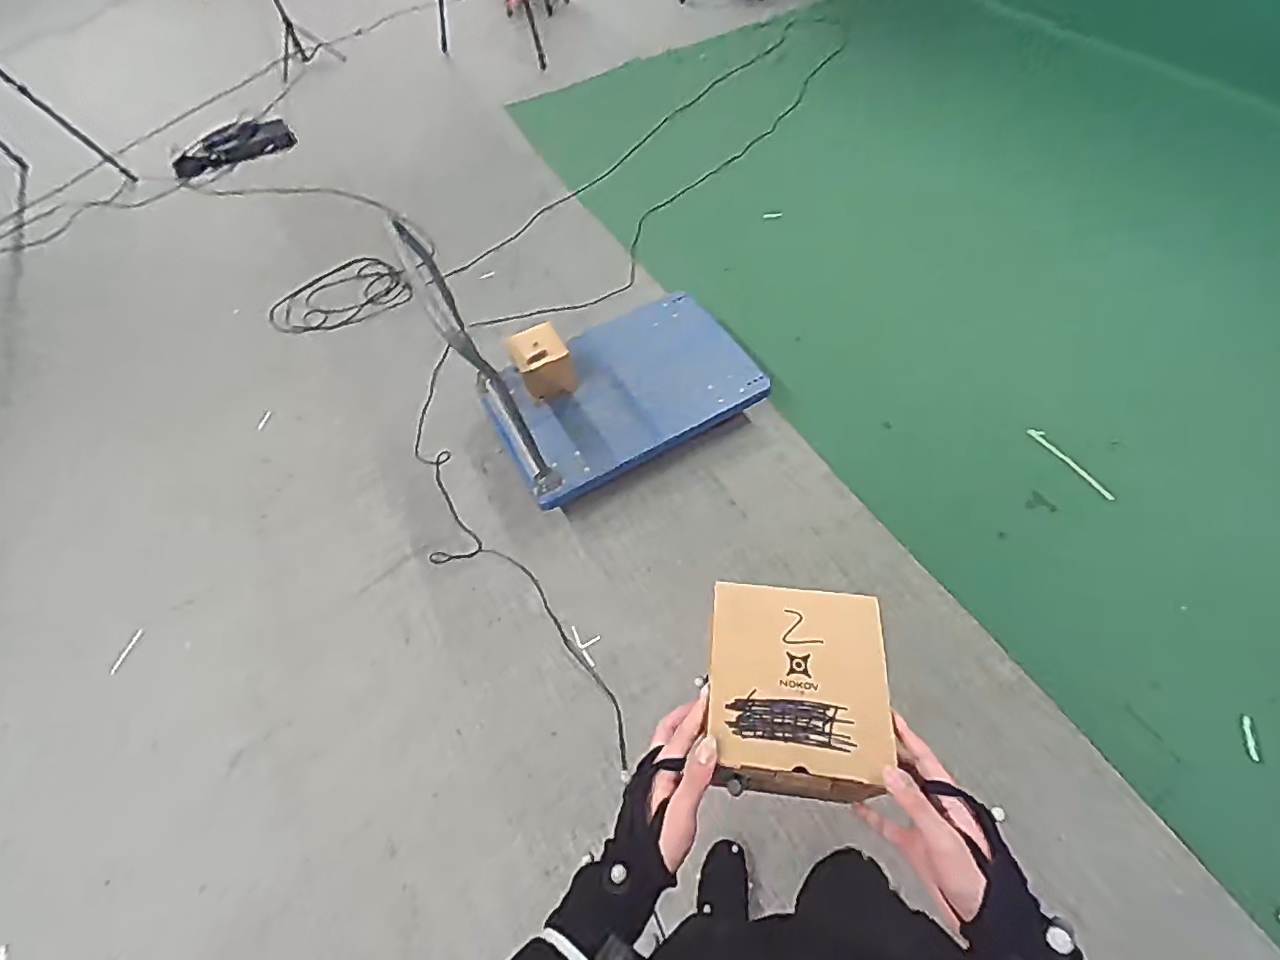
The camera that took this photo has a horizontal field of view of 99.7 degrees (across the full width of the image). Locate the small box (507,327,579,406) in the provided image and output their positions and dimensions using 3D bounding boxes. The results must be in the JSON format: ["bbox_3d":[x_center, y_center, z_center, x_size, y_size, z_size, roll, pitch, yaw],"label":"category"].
[{"bbox_3d":[-0.317,-0.368,1.795,0.168,0.176,0.179,-25,60,-11],"label":"small box"}]
